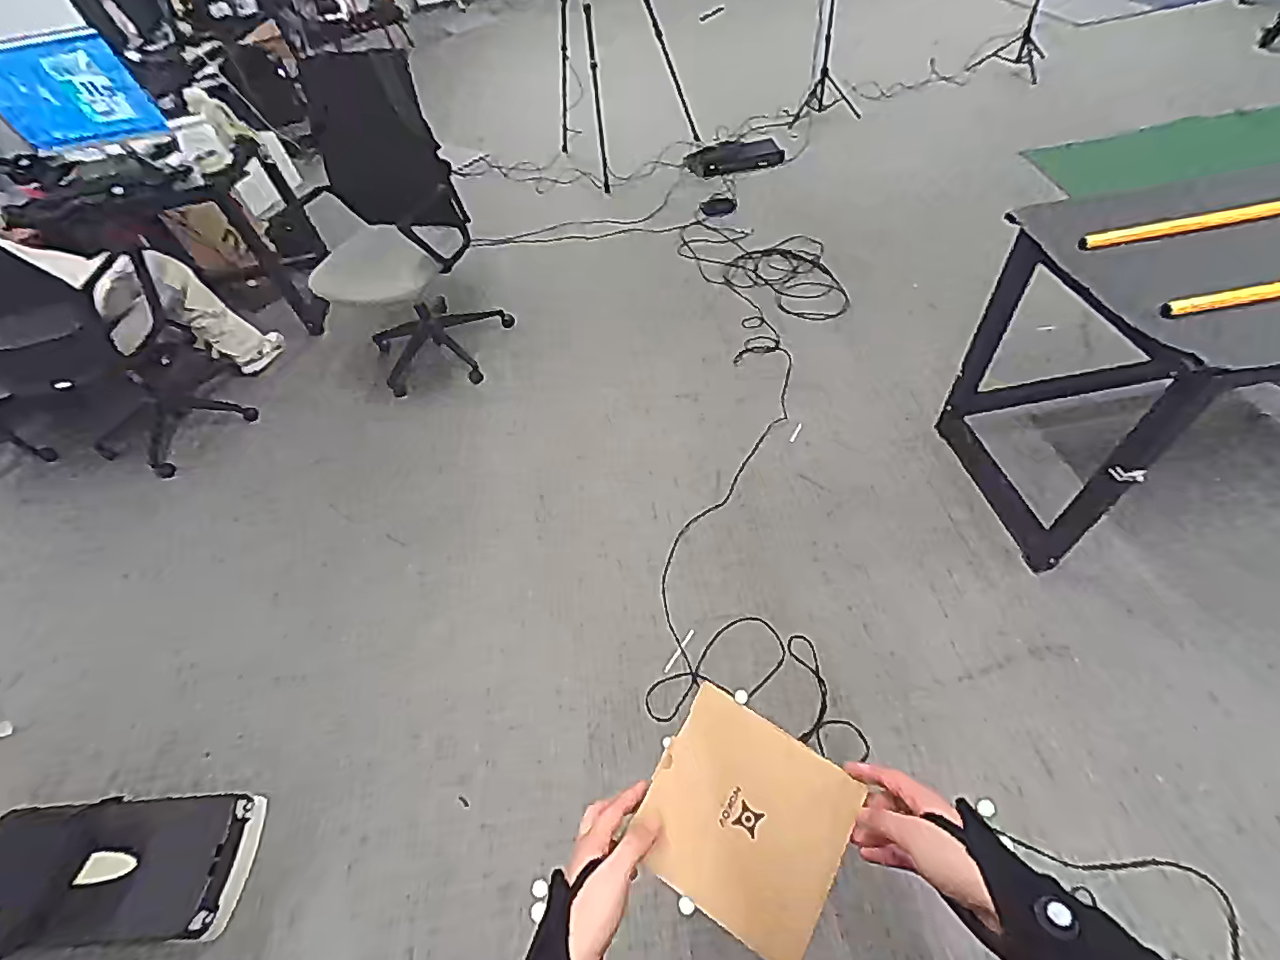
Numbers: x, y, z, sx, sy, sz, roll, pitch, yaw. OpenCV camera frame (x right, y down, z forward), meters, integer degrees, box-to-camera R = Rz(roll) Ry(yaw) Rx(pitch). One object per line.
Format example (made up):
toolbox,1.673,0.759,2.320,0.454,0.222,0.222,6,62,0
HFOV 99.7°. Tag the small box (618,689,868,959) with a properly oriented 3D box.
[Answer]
small box,0.102,0.345,0.563,0.179,0.176,0.168,27,68,20
